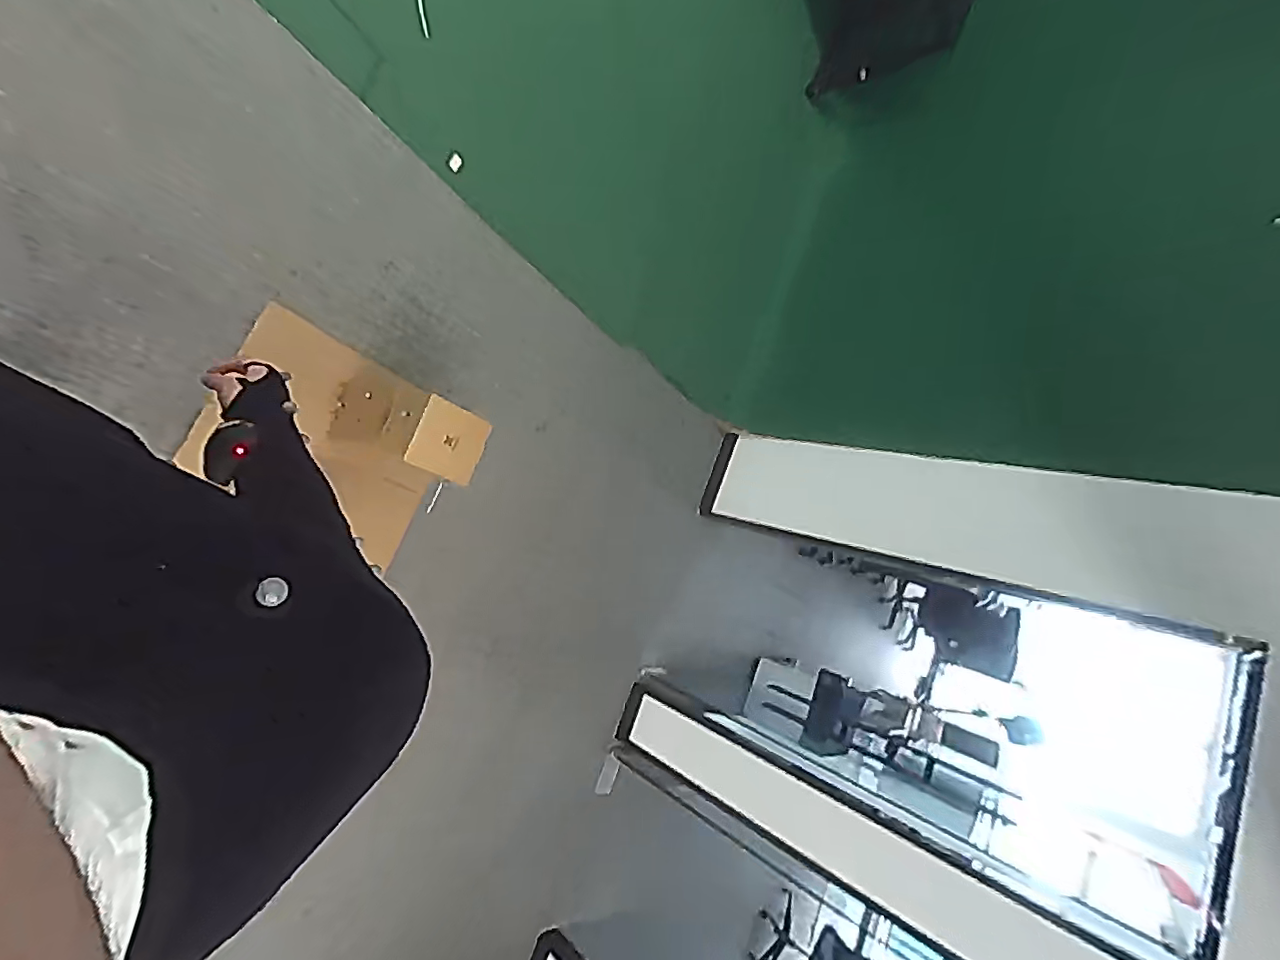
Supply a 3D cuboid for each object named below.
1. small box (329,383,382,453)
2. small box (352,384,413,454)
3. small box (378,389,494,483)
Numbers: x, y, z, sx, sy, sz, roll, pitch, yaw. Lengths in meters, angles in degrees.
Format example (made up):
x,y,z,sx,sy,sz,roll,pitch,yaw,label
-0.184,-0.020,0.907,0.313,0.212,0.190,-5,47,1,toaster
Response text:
x,y,z,sx,sy,sz,roll,pitch,yaw,label
-0.731,-0.166,1.513,0.179,0.176,0.168,25,81,-48,small box
-0.611,-0.139,1.405,0.179,0.176,0.168,30,77,-48,small box
-0.493,-0.107,1.299,0.179,0.176,0.168,30,77,-48,small box
